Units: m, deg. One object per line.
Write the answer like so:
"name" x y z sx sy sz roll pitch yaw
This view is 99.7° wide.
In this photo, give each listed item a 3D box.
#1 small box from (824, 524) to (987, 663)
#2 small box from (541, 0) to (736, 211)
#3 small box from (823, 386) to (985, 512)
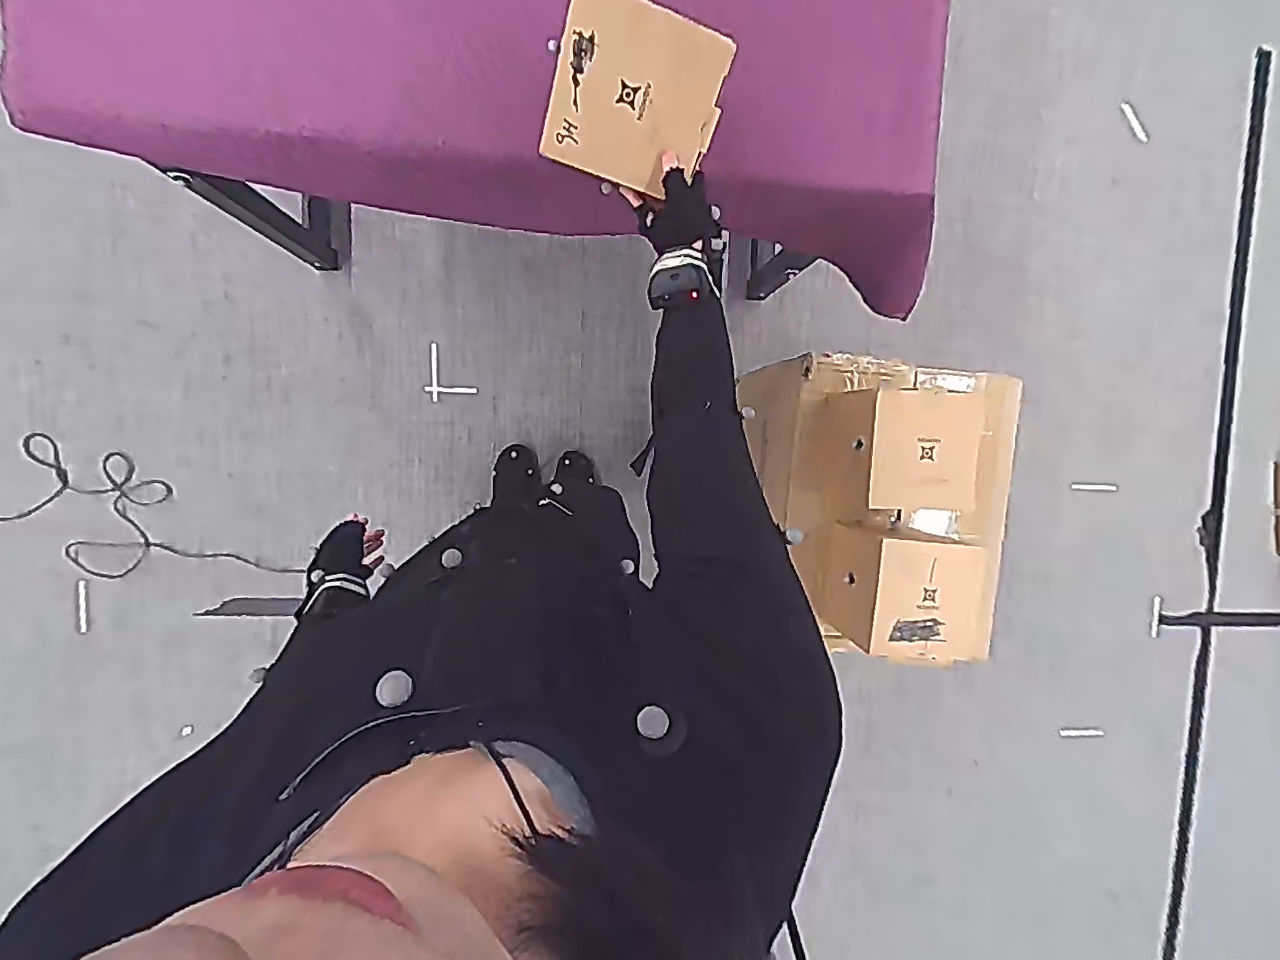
"small box" 0.412 0.173 0.868 0.168 0.176 0.179 6 92 -6
"small box" -0.012 -0.448 0.654 0.179 0.176 0.168 14 117 -14
"small box" 0.403 -0.049 0.853 0.168 0.176 0.179 2 95 -5
